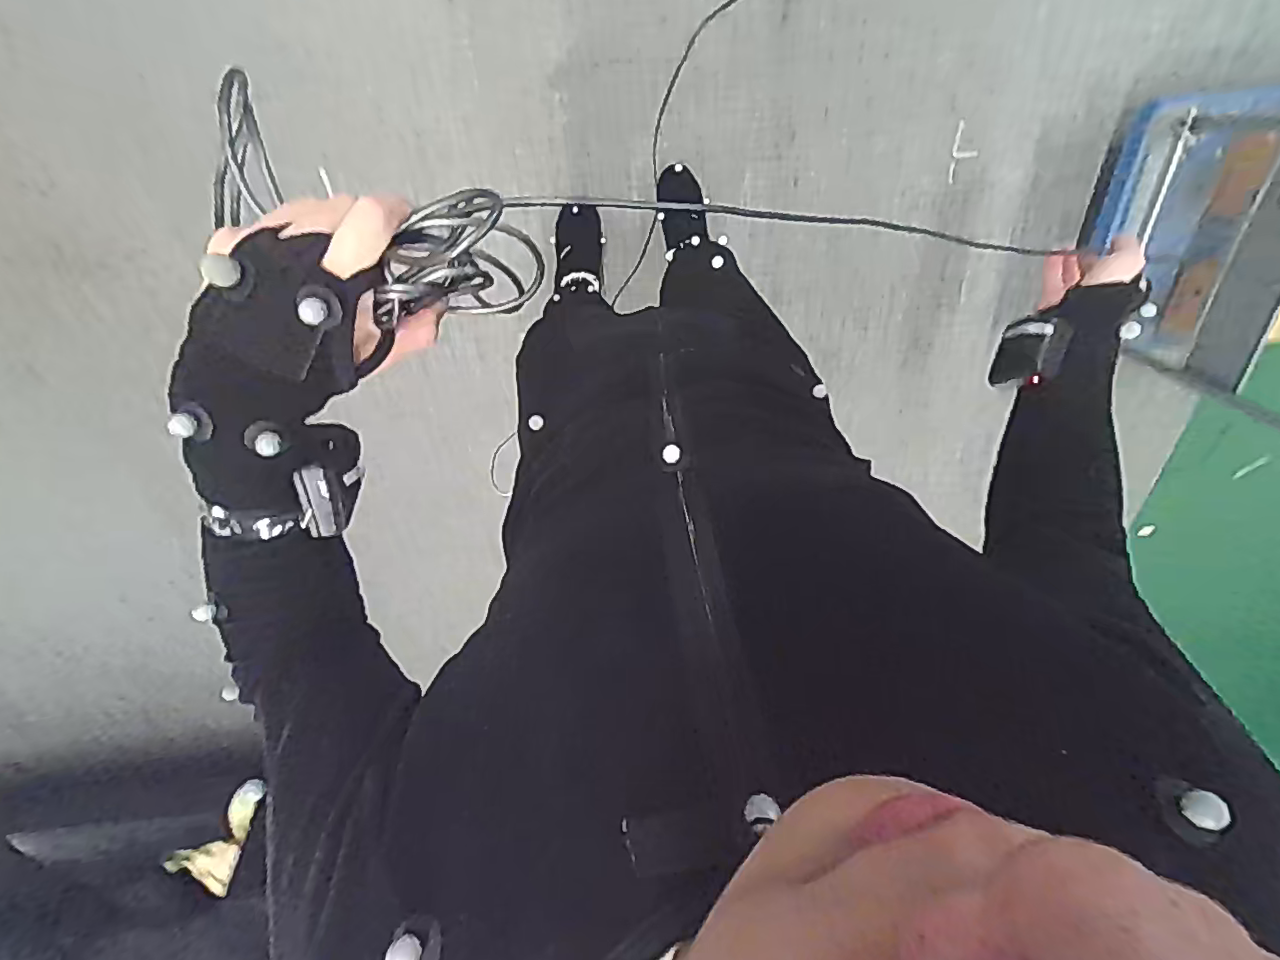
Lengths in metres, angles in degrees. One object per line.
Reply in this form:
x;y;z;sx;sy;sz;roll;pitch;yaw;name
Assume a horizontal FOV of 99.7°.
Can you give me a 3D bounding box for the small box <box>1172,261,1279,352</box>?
1.458;-0.418;1.291;0.179;0.176;0.168;-4;122;1;small box
